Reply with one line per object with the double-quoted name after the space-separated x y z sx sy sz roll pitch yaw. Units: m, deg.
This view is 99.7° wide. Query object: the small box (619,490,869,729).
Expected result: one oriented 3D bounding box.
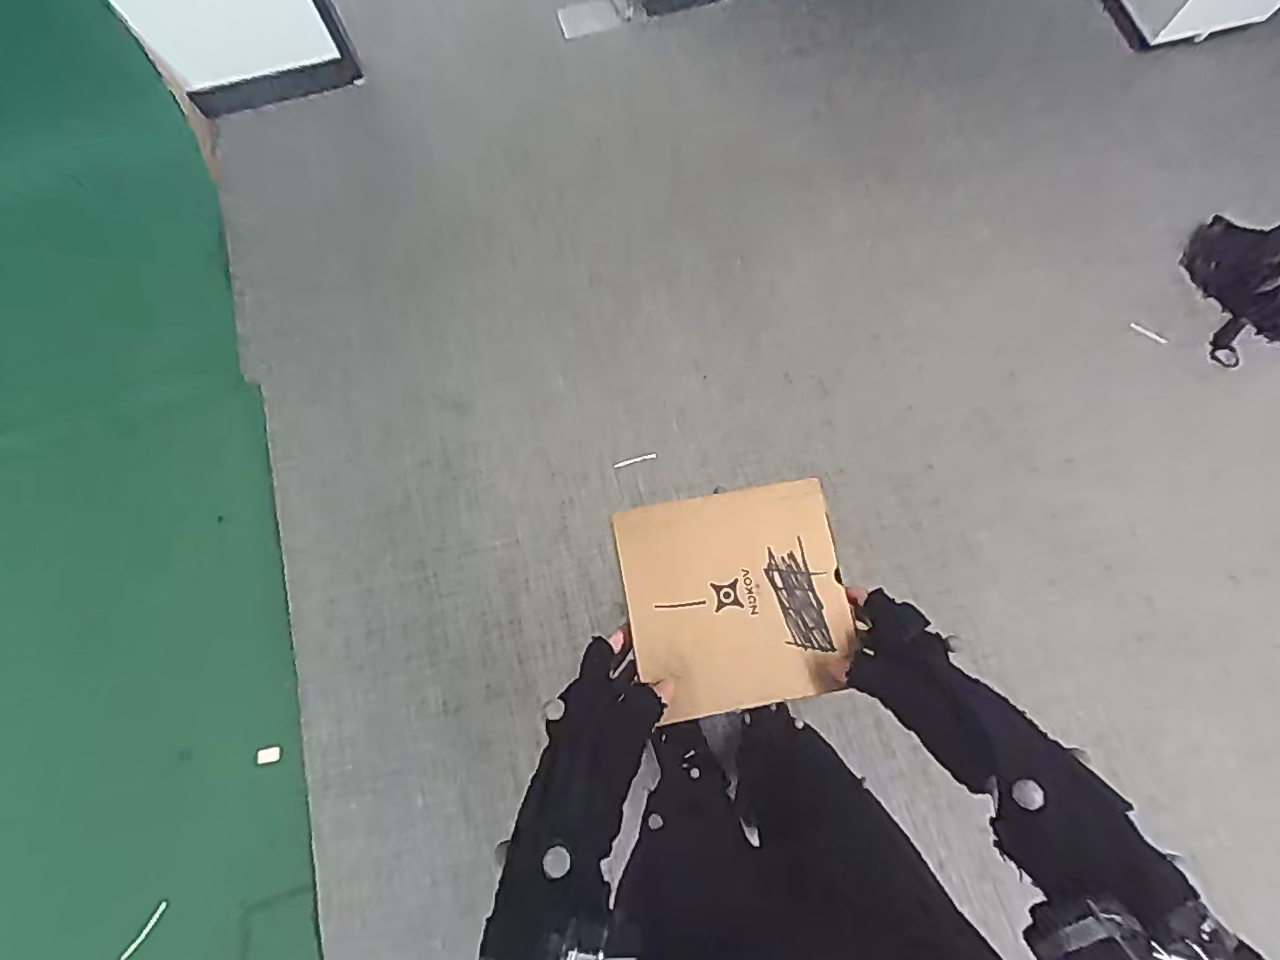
0.079 0.117 0.507 0.179 0.176 0.168 -10 75 -2 "small box"
